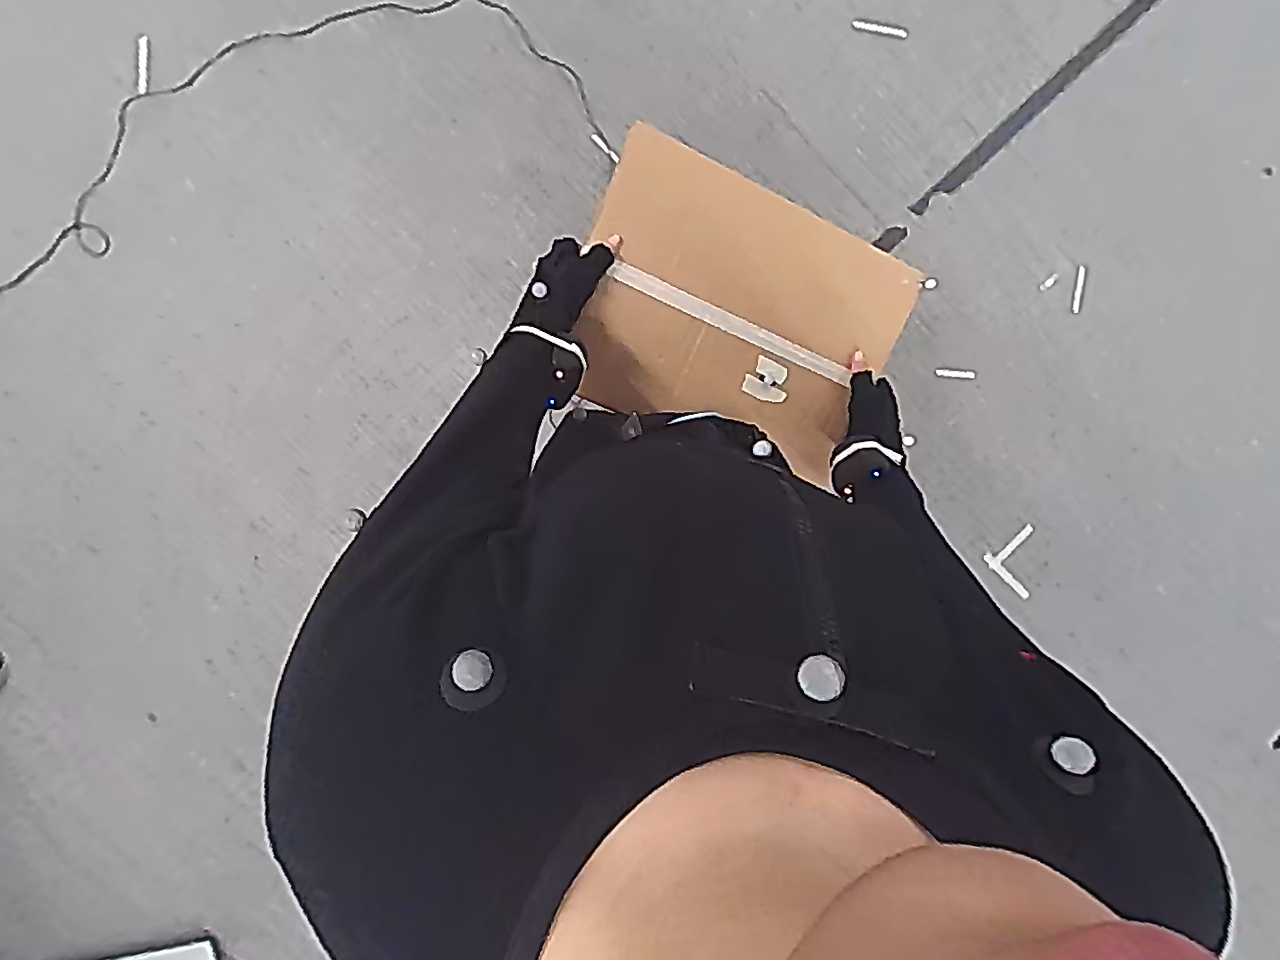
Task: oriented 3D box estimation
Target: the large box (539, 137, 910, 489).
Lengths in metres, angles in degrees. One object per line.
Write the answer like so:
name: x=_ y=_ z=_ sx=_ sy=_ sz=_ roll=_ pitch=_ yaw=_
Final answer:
large box: x=0.092 y=-0.223 z=0.824 sx=0.408 sy=0.320 sz=0.320 roll=22 pitch=99 yaw=-11
